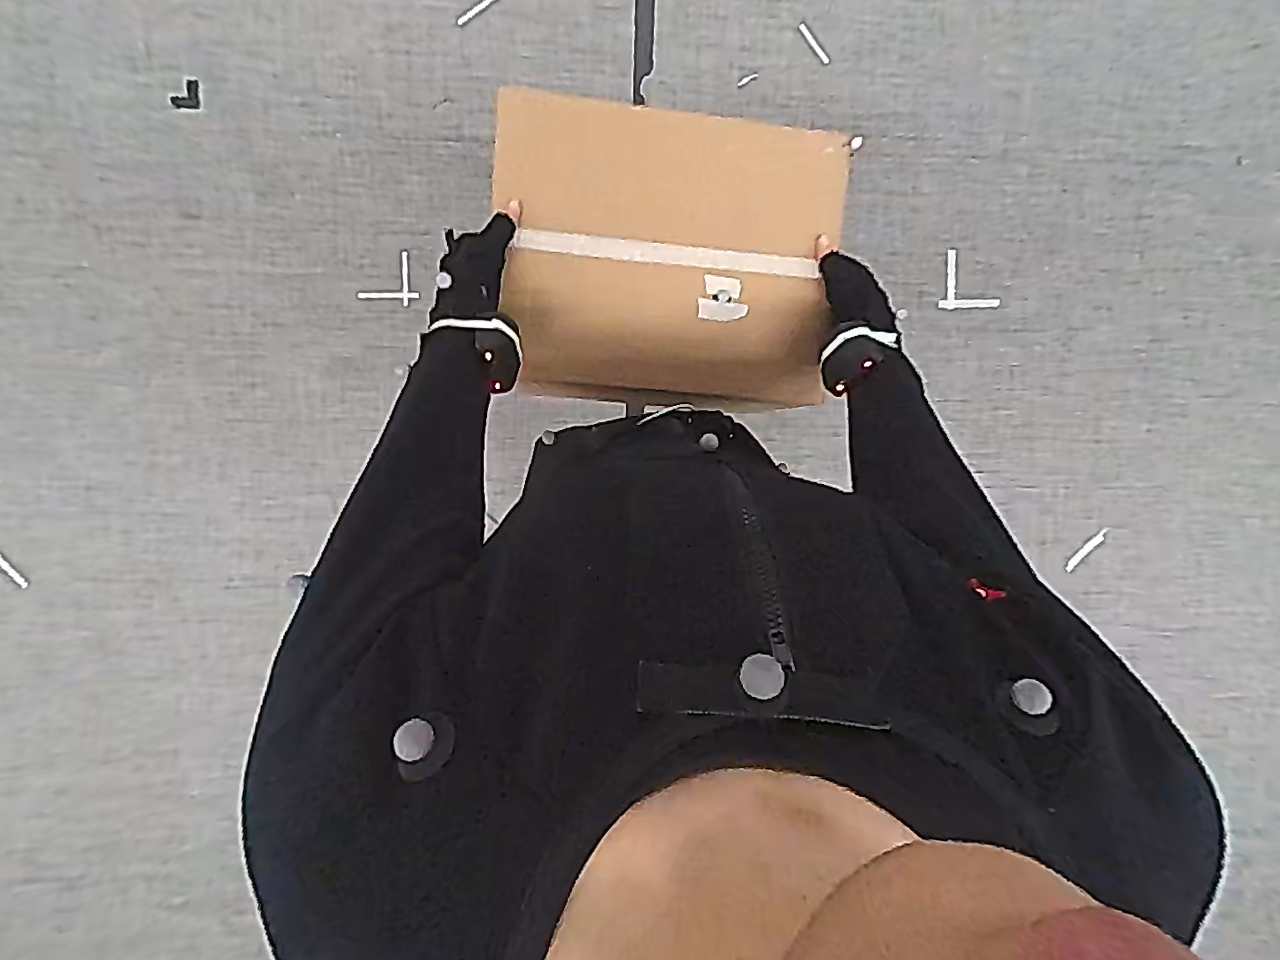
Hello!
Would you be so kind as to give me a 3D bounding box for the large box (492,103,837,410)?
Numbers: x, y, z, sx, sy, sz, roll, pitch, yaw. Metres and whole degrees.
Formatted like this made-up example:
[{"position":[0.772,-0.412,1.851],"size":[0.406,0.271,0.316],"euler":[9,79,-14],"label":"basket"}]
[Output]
[{"position":[0.013,-0.274,0.786],"size":[0.408,0.320,0.320],"euler":[4,96,-7],"label":"large box"}]
